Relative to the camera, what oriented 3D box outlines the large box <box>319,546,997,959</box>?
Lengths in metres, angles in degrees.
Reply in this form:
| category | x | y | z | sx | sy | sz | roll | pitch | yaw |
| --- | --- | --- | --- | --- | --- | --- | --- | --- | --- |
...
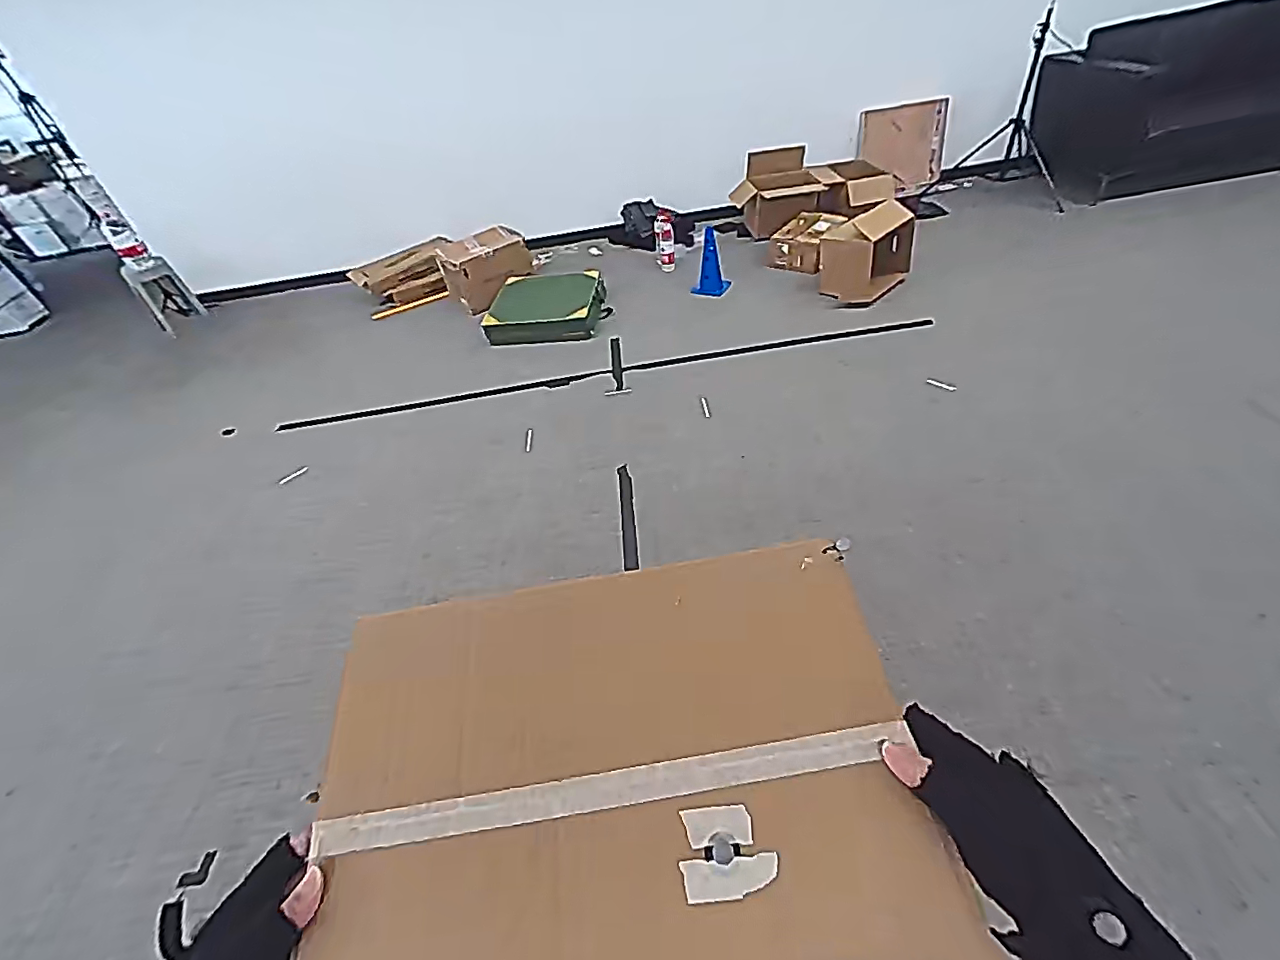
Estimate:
| category | x | y | z | sx | sy | sz | roll | pitch | yaw |
| --- | --- | --- | --- | --- | --- | --- | --- | --- | --- |
| large box | 0.001 | 0.301 | 0.492 | 0.408 | 0.320 | 0.320 | -10 | 53 | 0 |
